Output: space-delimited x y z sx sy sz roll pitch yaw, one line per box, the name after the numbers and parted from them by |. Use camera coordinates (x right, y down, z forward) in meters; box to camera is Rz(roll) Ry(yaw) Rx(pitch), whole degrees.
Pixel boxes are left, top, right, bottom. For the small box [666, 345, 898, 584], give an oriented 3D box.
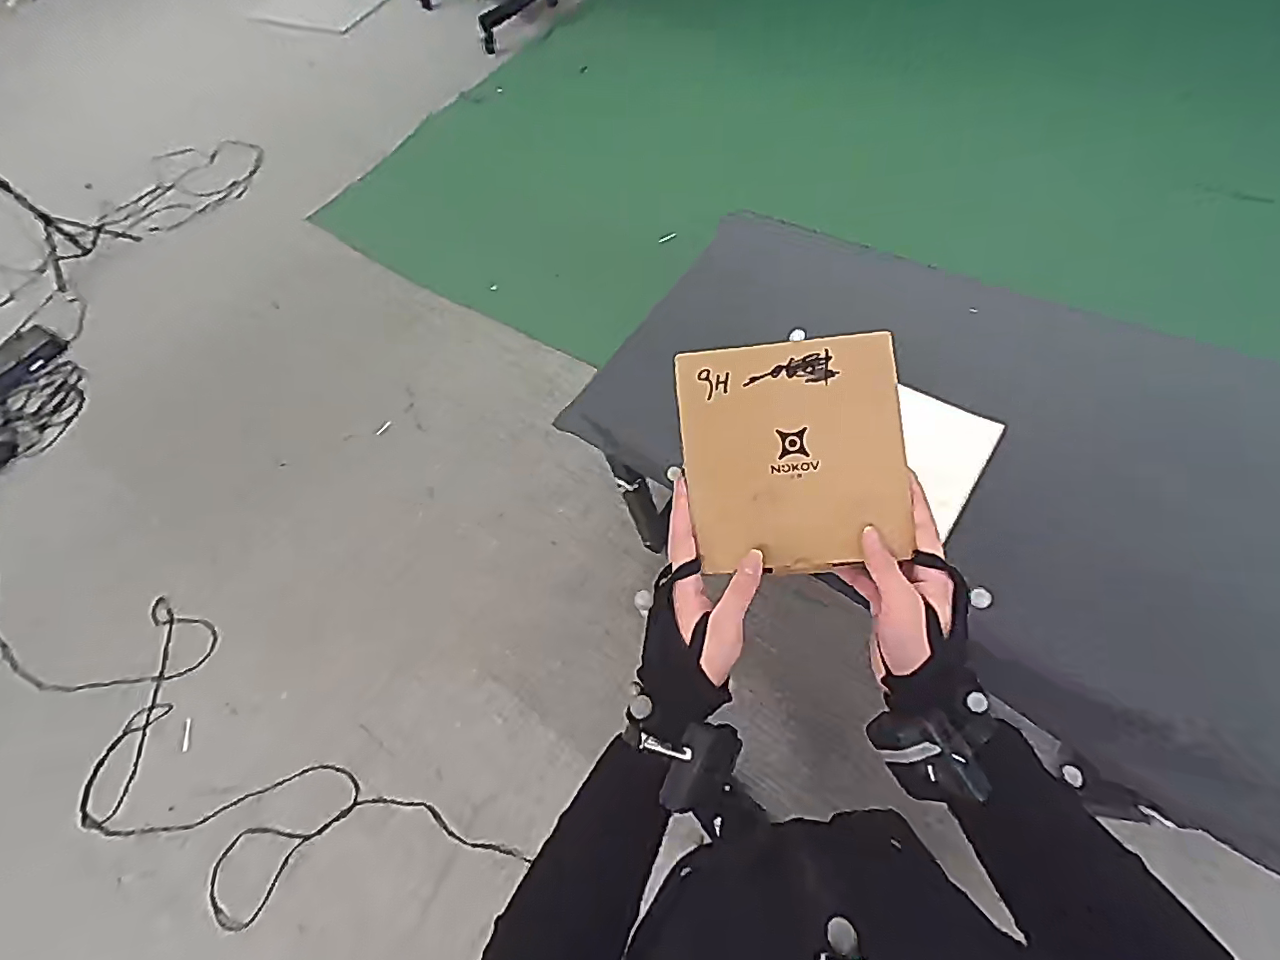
0.115 -0.011 0.496 0.168 0.176 0.179 -6 89 4 | small box
